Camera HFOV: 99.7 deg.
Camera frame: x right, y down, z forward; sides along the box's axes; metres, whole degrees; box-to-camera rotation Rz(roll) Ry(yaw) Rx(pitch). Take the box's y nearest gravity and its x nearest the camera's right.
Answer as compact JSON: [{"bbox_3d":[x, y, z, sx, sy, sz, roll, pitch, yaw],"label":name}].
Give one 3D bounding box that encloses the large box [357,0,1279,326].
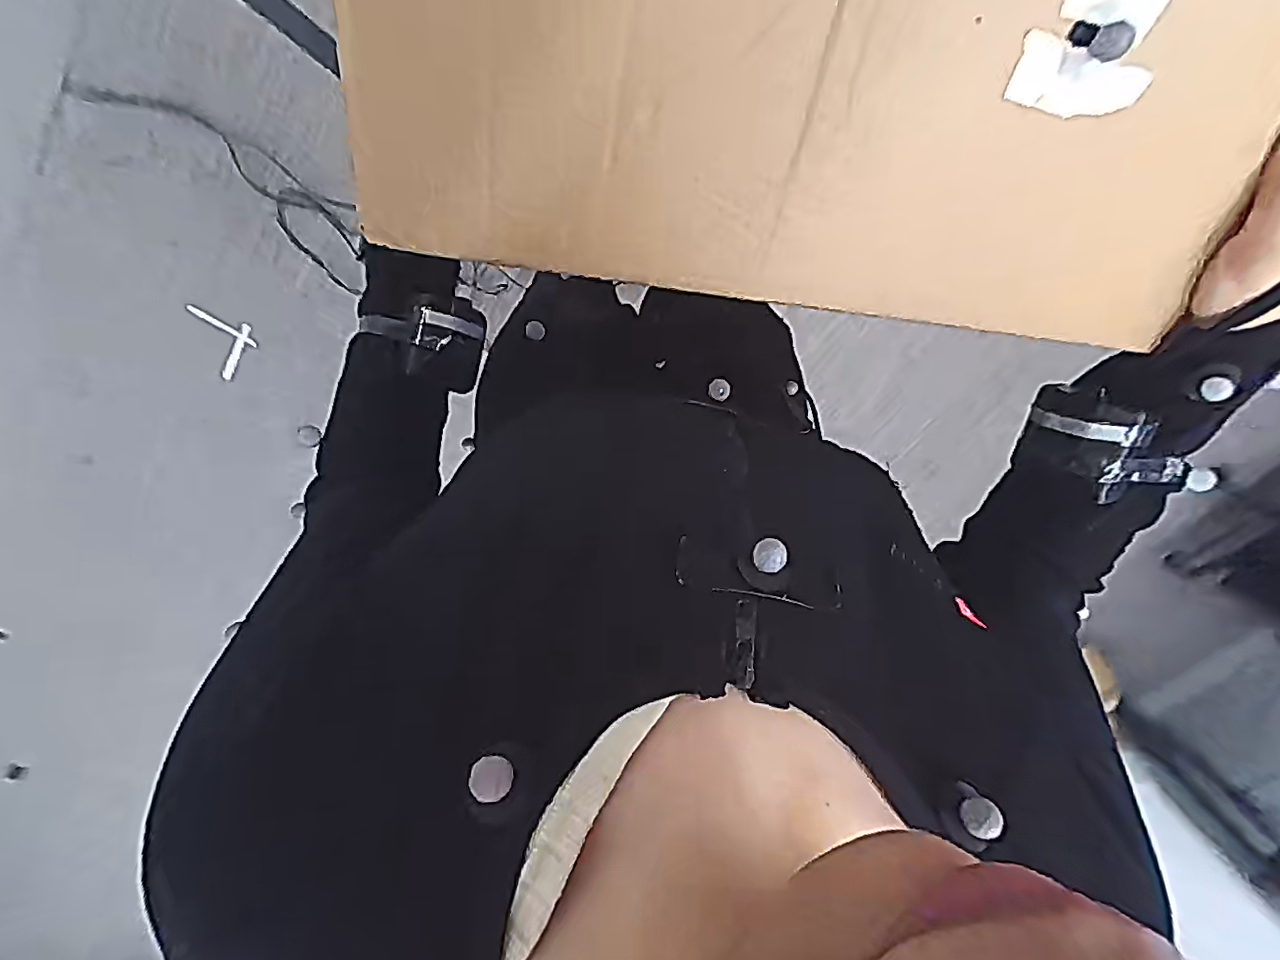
[{"bbox_3d":[0.083,-0.299,0.302,0.408,0.320,0.320,2,125,-12],"label":"large box"}]
